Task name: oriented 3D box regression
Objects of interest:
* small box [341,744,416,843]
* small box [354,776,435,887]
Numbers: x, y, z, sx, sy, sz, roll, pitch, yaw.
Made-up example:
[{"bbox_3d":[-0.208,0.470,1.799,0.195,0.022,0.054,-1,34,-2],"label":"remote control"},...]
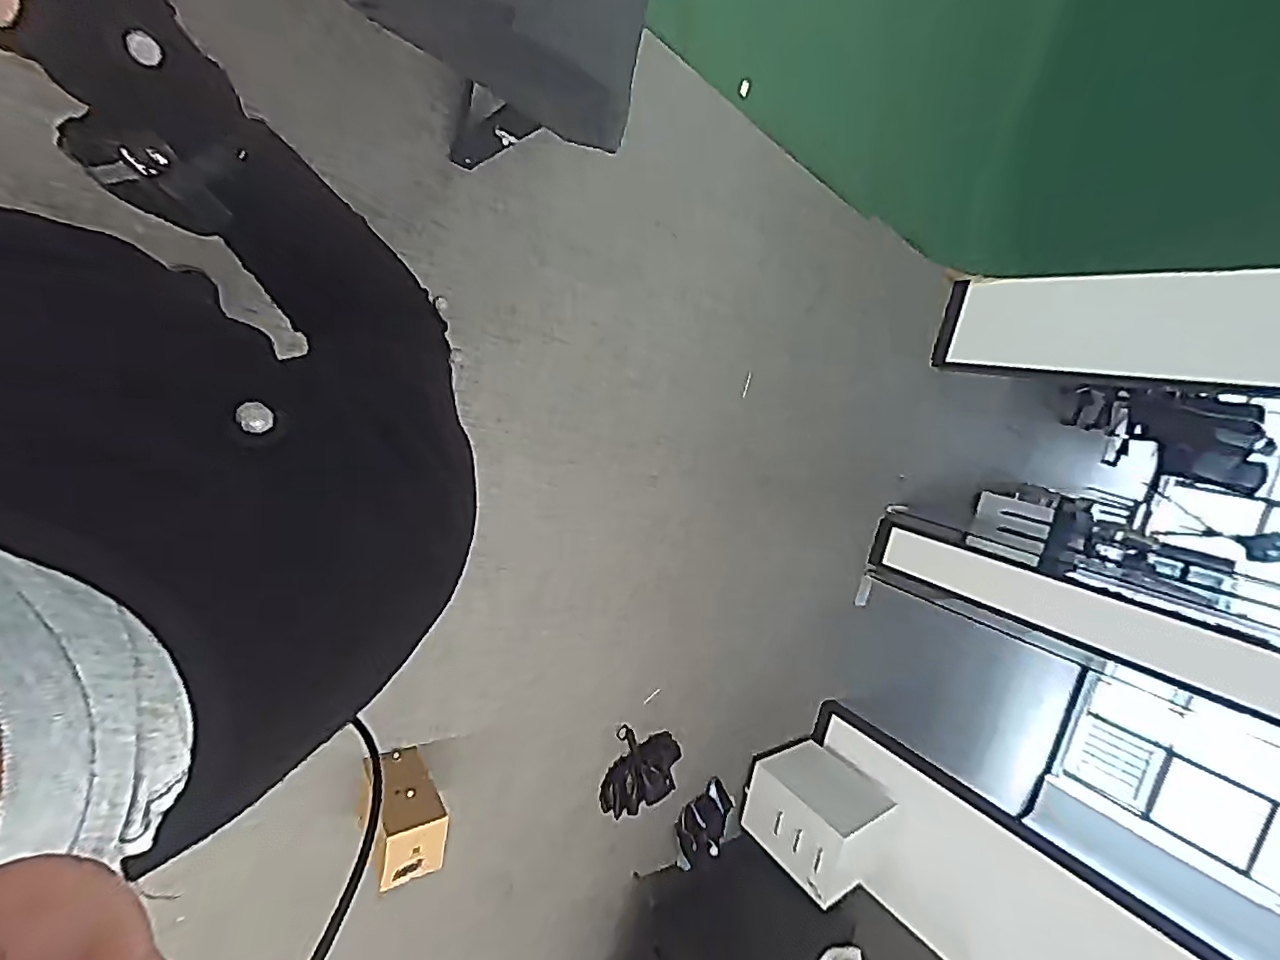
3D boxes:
[{"bbox_3d":[-0.809,0.955,1.664,0.168,0.176,0.179,3,102,-41],"label":"small box"},{"bbox_3d":[-0.704,0.991,1.541,0.168,0.176,0.179,3,103,-41],"label":"small box"}]
